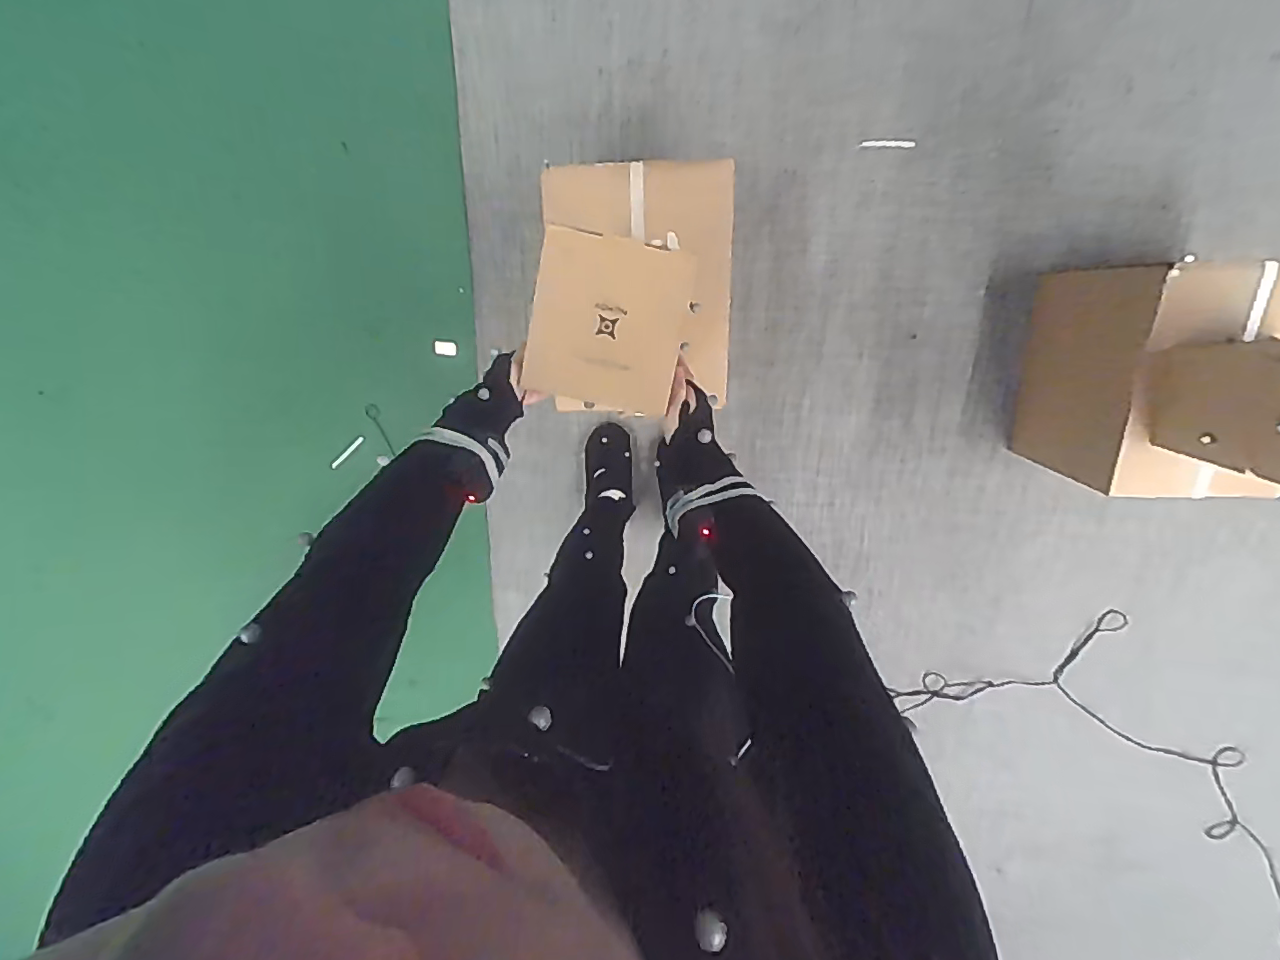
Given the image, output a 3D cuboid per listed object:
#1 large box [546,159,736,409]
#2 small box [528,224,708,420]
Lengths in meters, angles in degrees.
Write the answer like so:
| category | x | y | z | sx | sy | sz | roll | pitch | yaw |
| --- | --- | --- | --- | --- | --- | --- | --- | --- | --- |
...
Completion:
| category | x | y | z | sx | sy | sz | roll | pitch | yaw |
| --- | --- | --- | --- | --- | --- | --- | --- | --- | --- |
| large box | 0.014 | -0.364 | 1.066 | 0.320 | 0.320 | 0.408 | 1 | 108 | 3 |
| small box | -0.023 | -0.182 | 0.660 | 0.168 | 0.176 | 0.179 | 13 | 102 | 1 |
